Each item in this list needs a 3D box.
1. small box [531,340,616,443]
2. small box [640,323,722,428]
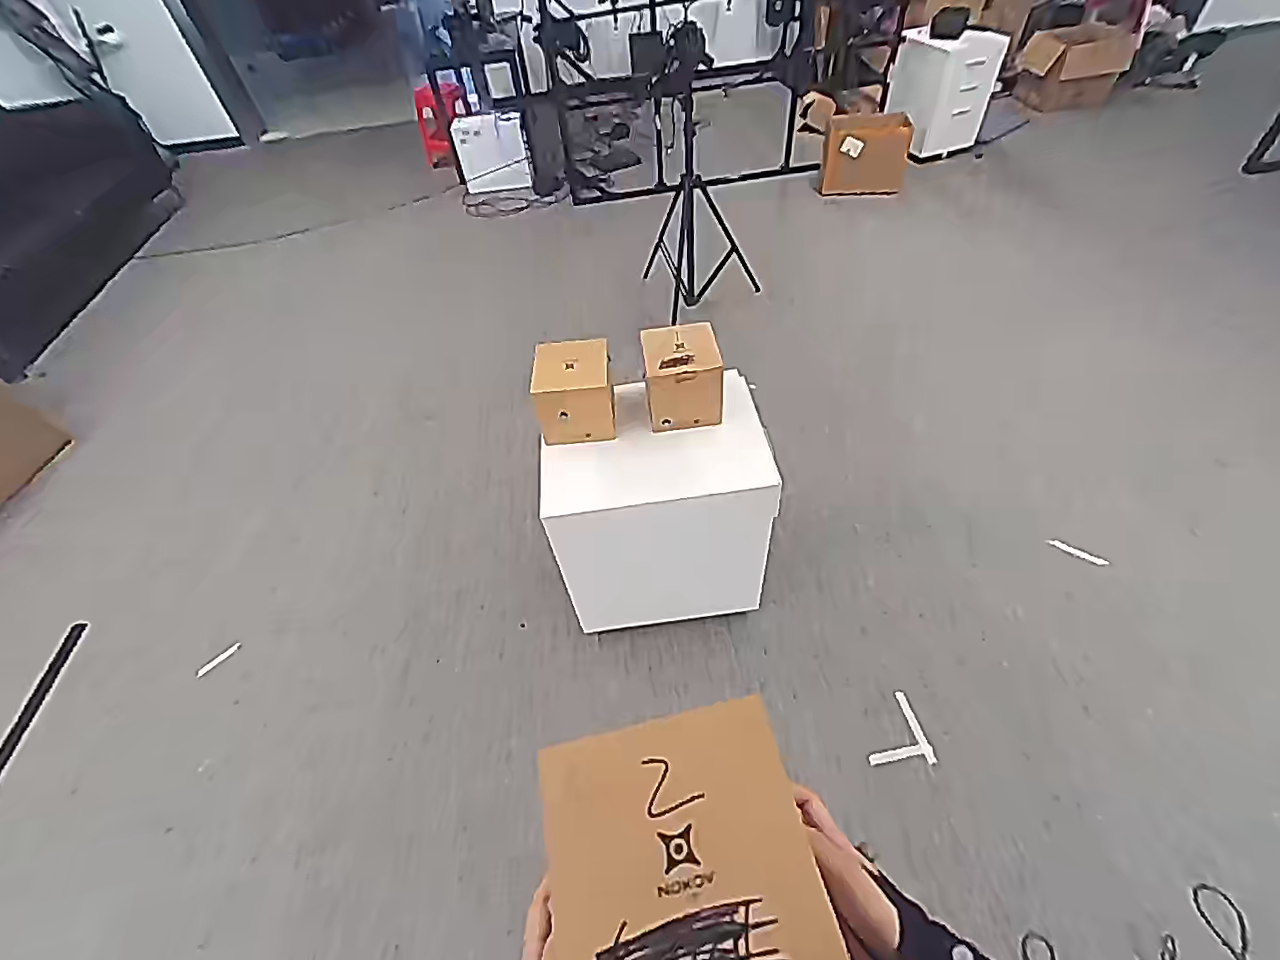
[{"bbox_3d":[-0.148,-0.198,1.253,0.168,0.176,0.179,-5,49,1],"label":"small box"},{"bbox_3d":[0.096,-0.235,1.256,0.168,0.176,0.179,-7,49,1],"label":"small box"}]
